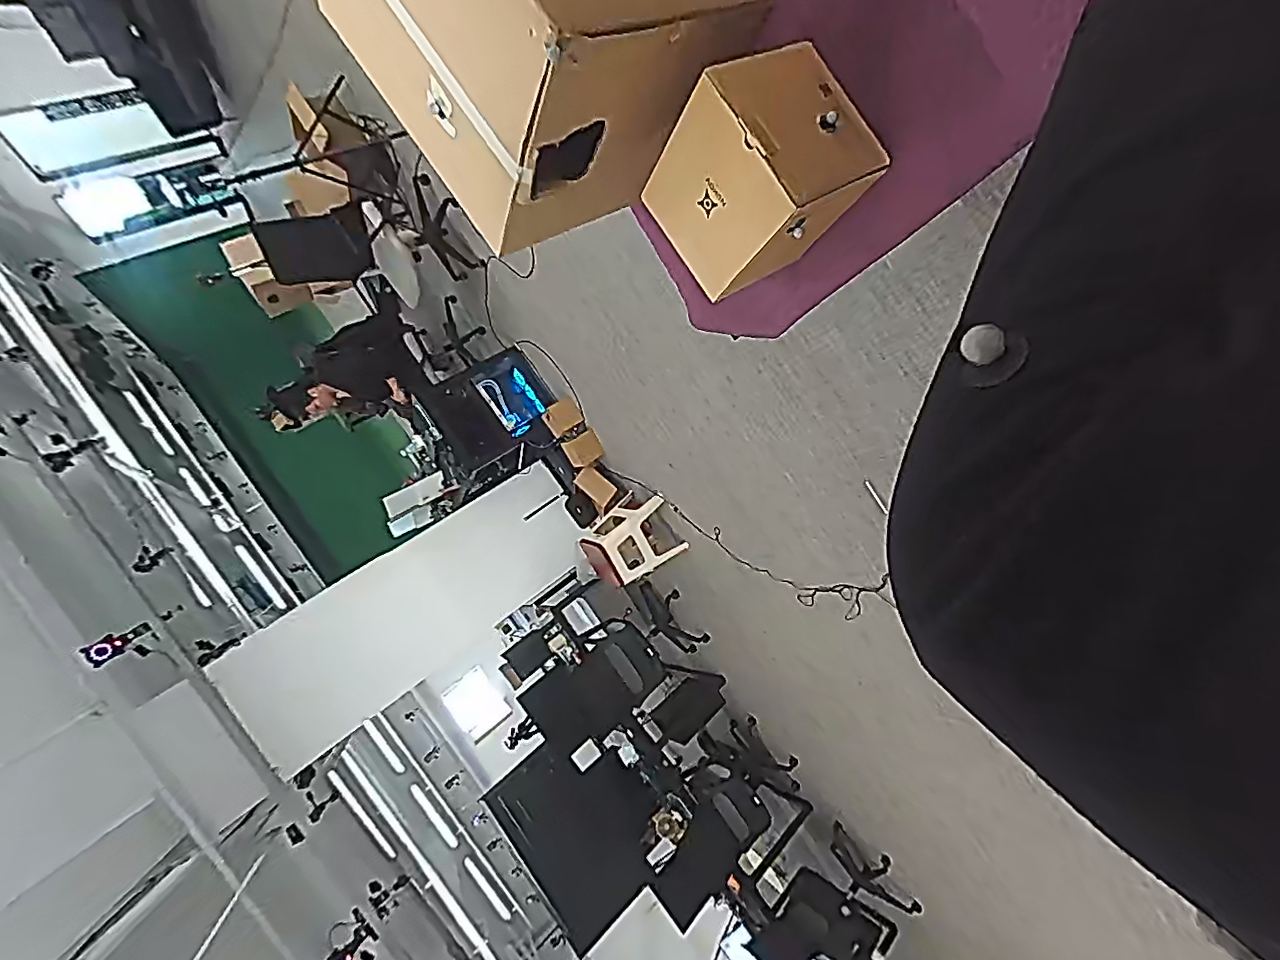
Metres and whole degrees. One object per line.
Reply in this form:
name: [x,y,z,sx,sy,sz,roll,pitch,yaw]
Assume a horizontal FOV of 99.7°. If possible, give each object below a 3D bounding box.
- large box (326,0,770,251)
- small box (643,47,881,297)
large box: [-0.128,-0.580,0.650,0.408,0.320,0.320,53,154,-2]
small box: [0.138,-0.355,0.636,0.168,0.176,0.179,55,154,1]
